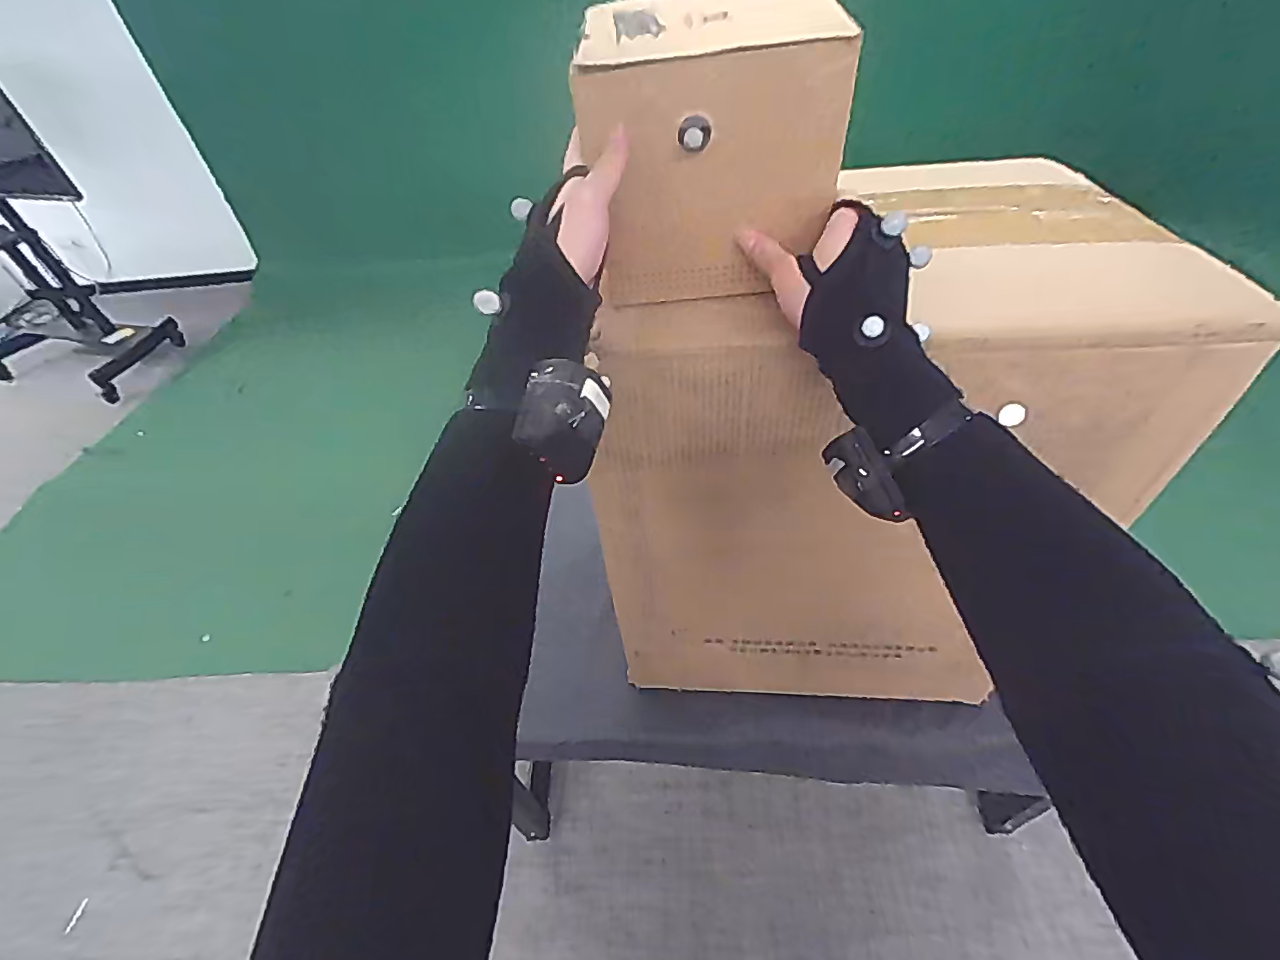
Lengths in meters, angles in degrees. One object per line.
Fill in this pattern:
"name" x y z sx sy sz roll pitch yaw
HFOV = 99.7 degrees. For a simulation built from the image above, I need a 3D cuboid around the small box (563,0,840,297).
"small box" 0.053 -0.268 0.444 0.179 0.176 0.168 -1 53 9
